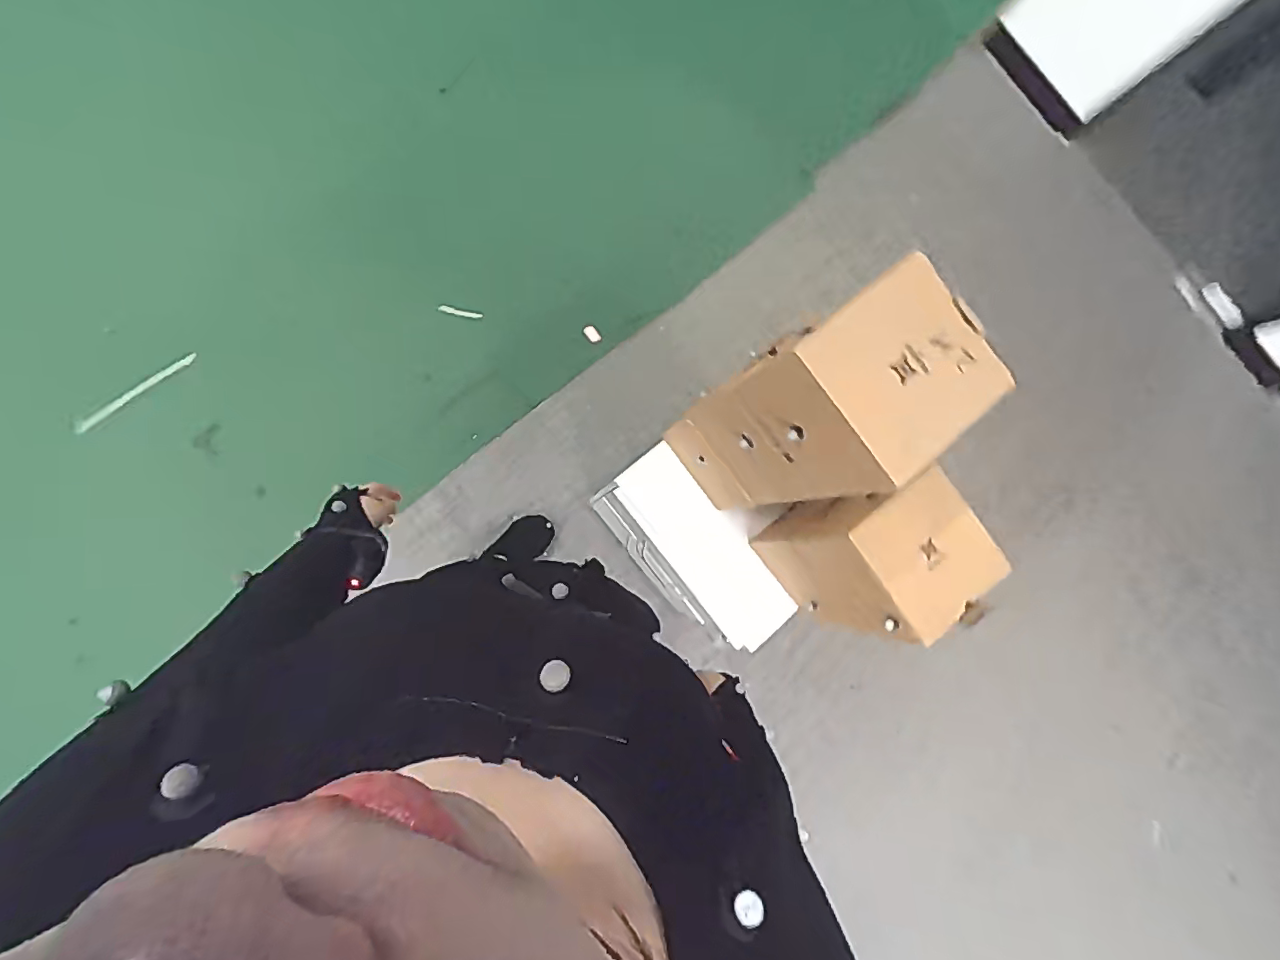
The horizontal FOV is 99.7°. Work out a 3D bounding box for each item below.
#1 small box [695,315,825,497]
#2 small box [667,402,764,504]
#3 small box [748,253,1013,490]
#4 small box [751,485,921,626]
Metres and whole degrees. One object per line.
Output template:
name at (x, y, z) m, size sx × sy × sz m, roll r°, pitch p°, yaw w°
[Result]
small box at (0.203, -0.089, 0.752) m, size 0.168 × 0.176 × 0.179 m, roll -38°, pitch 94°, yaw -12°
small box at (0.169, -0.071, 0.914) m, size 0.168 × 0.176 × 0.179 m, roll -38°, pitch 94°, yaw -11°
small box at (0.241, -0.101, 0.592) m, size 0.179 × 0.176 × 0.168 m, roll -38°, pitch 94°, yaw -12°
small box at (0.323, 0.120, 0.924) m, size 0.168 × 0.176 × 0.179 m, roll -37°, pitch 90°, yaw -12°
